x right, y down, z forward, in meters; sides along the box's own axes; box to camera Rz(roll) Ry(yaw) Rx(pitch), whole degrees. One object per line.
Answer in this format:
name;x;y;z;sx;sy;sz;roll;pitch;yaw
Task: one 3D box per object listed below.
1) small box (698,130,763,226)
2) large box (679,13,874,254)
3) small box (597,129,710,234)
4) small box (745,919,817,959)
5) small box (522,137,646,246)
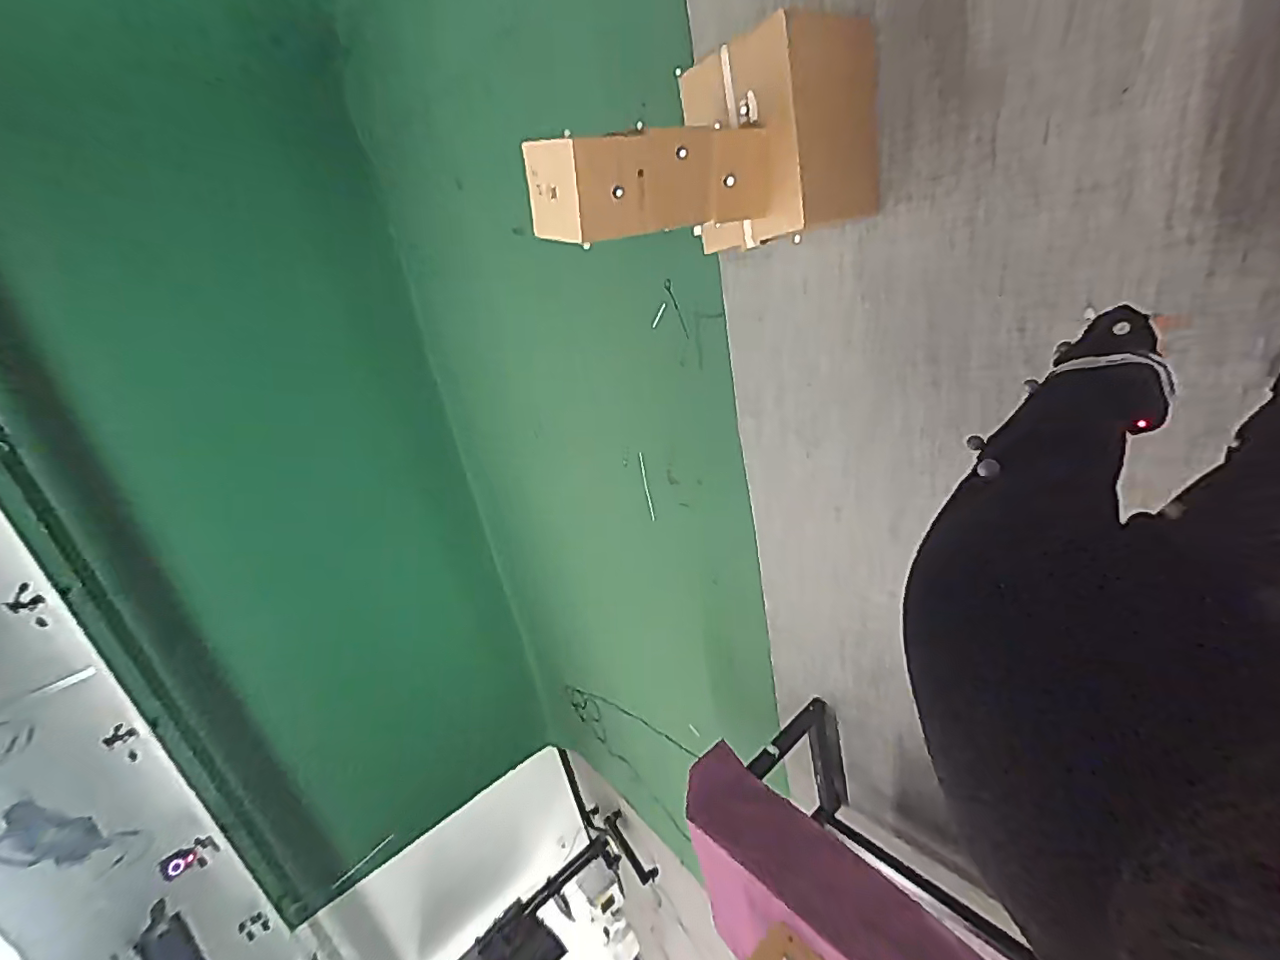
small box;0.159;-0.669;1.205;0.168;0.176;0.179;27;132;44
large box;0.337;-0.803;1.313;0.320;0.320;0.408;13;121;50
small box;0.030;-0.620;1.118;0.168;0.176;0.179;31;136;43
small box;0.403;1.388;1.498;0.168;0.176;0.179;13;121;51
small box;-0.100;-0.558;1.039;0.179;0.176;0.168;31;135;42
